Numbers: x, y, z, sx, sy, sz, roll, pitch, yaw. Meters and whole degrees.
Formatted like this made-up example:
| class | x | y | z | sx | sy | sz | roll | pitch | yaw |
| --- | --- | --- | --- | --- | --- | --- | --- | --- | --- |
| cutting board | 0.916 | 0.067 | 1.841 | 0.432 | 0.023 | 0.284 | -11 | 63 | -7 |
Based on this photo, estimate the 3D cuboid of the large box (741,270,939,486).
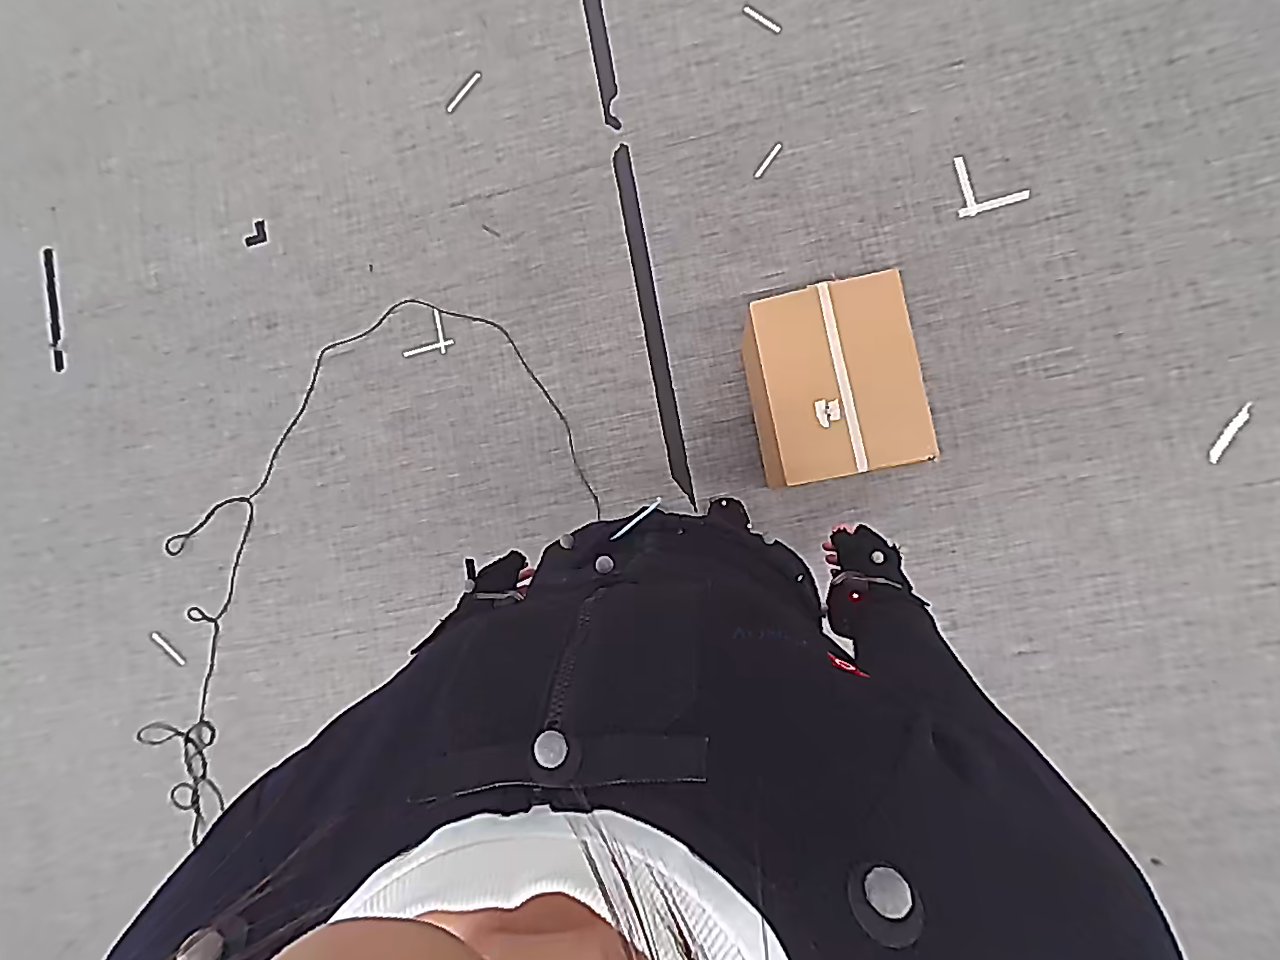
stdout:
| class | x | y | z | sx | sy | sz | roll | pitch | yaw |
| --- | --- | --- | --- | --- | --- | --- | --- | --- | --- |
| large box | 0.441 | -0.212 | 1.278 | 0.320 | 0.320 | 0.408 | -12 | 88 | 7 |
